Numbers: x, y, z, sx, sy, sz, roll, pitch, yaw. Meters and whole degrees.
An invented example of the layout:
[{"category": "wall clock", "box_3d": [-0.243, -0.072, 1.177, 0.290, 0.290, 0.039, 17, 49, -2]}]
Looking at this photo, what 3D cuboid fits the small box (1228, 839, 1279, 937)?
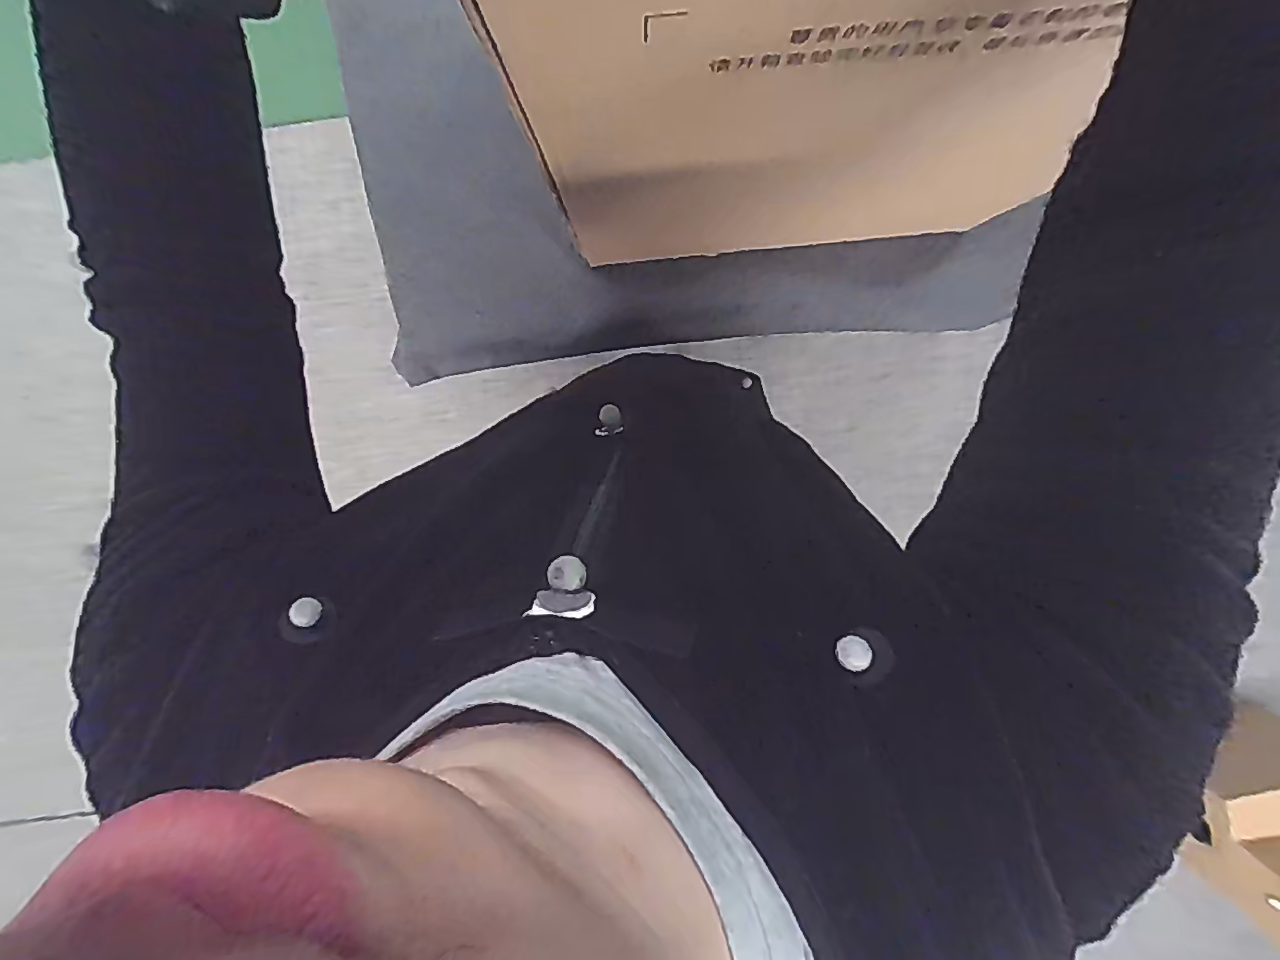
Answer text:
[{"category": "small box", "box_3d": [1.621, 1.022, 1.332, 0.168, 0.176, 0.179, -8, 100, 0]}]
